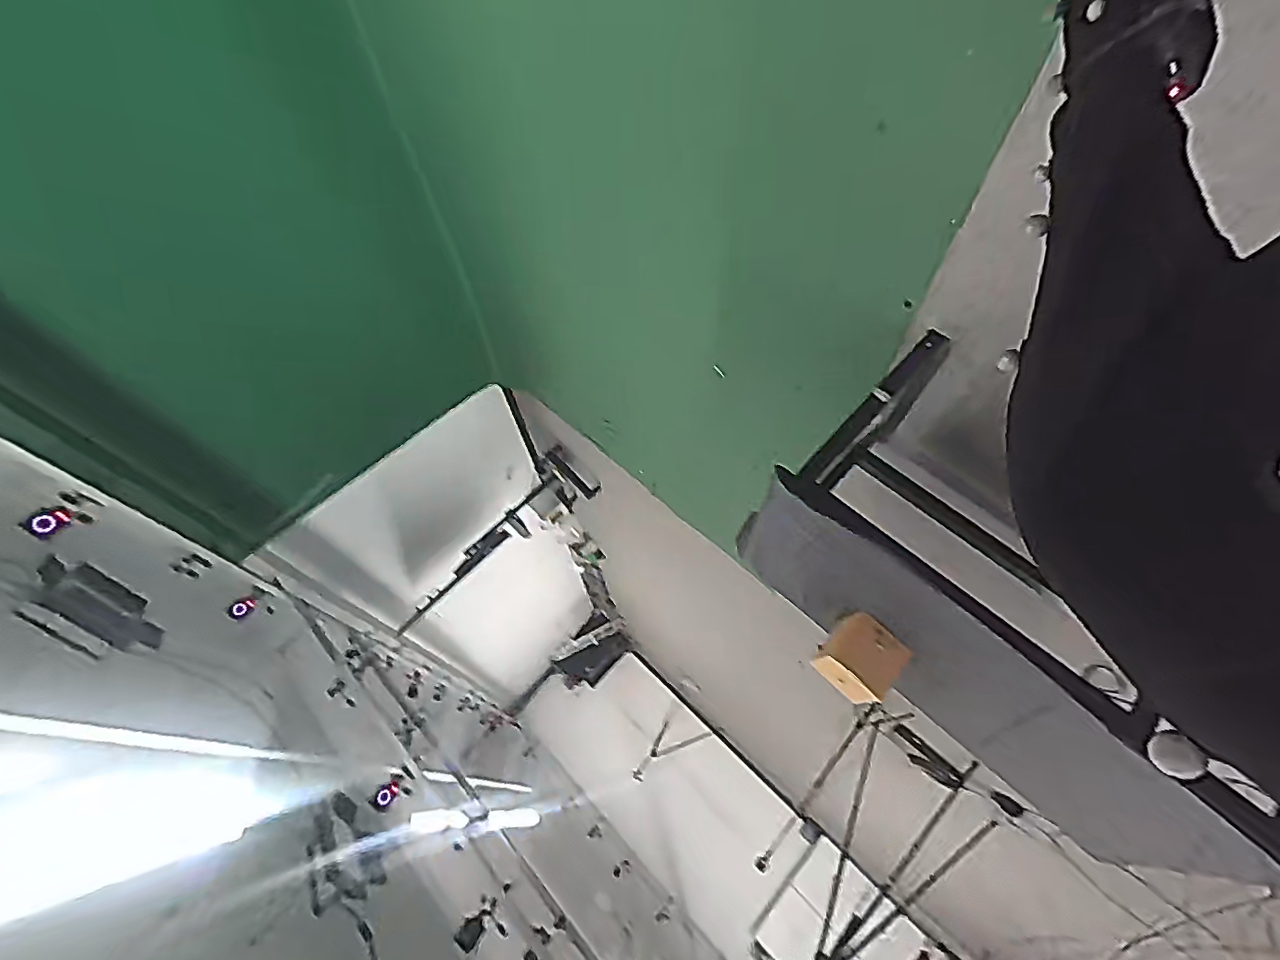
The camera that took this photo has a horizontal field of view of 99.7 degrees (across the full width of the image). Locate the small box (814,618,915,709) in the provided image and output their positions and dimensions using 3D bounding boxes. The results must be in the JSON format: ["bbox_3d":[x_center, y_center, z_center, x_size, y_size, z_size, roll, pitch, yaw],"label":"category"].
[{"bbox_3d":[0.628,0.513,1.510,0.168,0.176,0.179,43,159,15],"label":"small box"}]
